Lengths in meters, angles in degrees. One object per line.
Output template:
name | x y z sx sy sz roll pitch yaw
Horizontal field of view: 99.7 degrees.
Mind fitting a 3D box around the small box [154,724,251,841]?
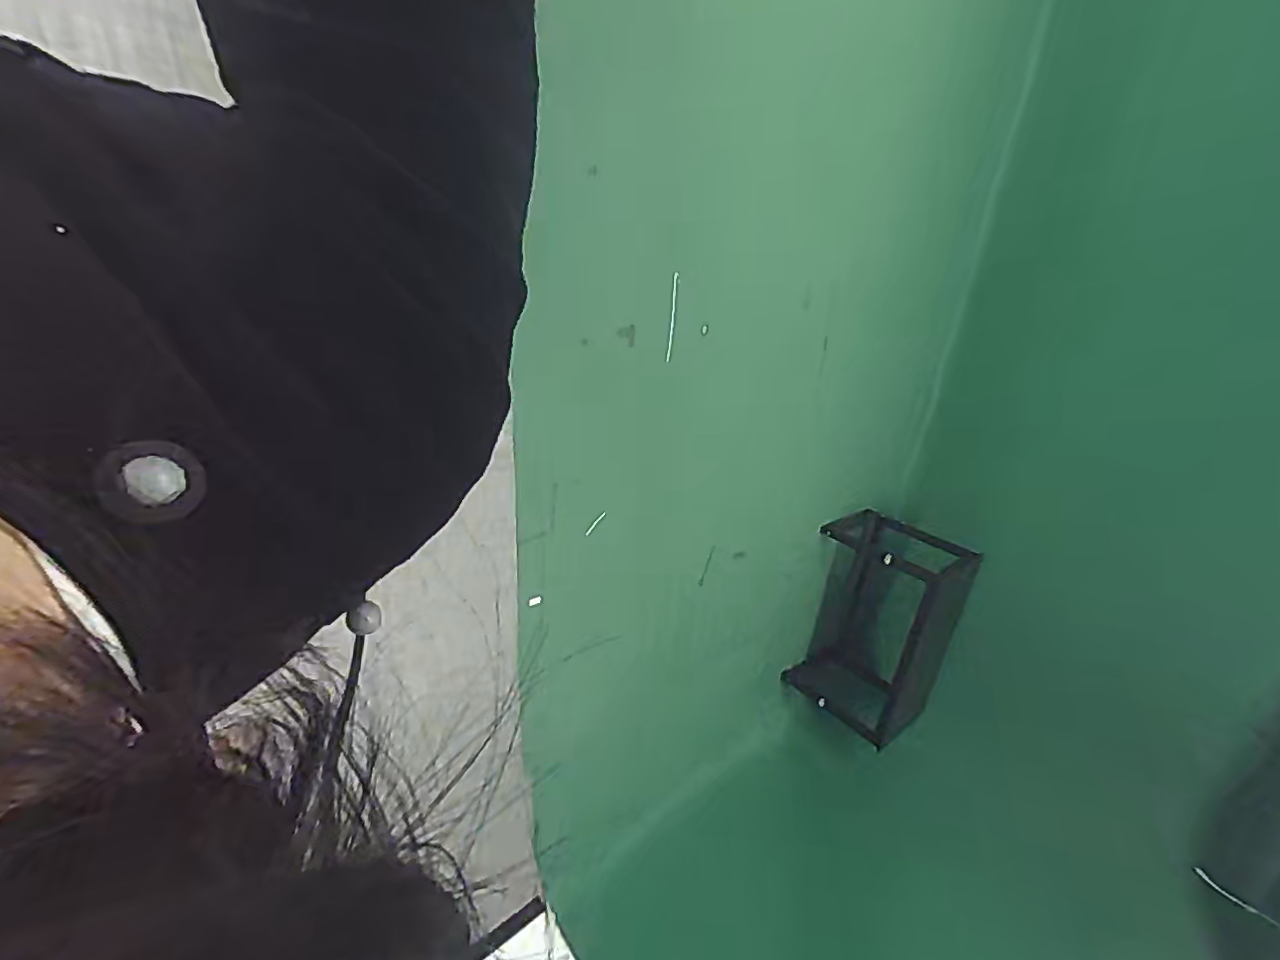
small box | -1.157 0.787 1.429 0.179 0.176 0.168 -10 117 -39
